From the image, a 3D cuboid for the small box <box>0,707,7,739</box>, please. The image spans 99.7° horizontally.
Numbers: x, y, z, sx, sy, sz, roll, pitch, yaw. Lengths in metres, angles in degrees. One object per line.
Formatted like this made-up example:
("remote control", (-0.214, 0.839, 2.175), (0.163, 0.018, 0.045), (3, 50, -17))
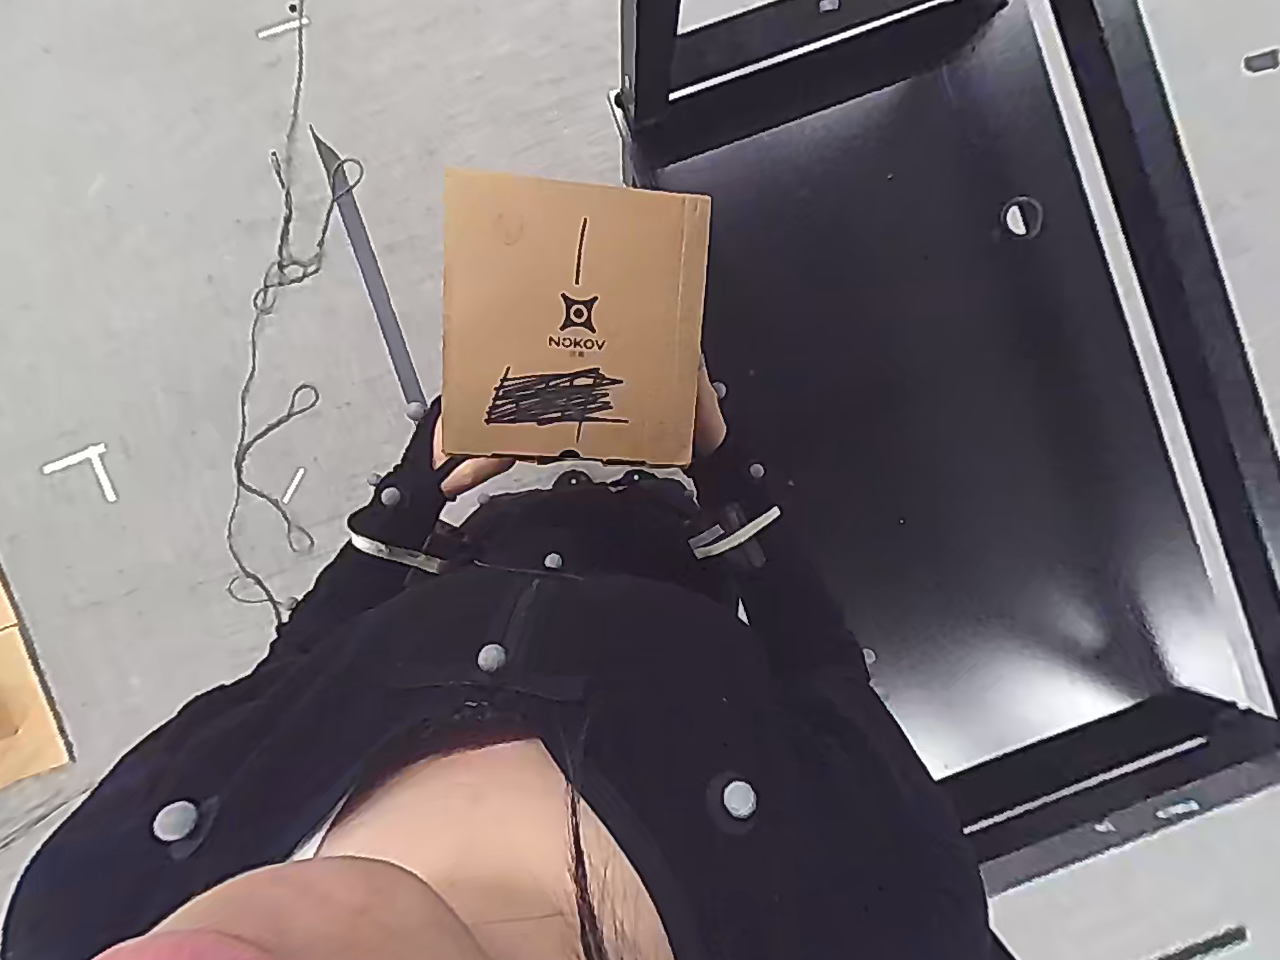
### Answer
("small box", (-1.776, 0.632, 1.360), (0.179, 0.176, 0.168), (-22, 92, 0))
